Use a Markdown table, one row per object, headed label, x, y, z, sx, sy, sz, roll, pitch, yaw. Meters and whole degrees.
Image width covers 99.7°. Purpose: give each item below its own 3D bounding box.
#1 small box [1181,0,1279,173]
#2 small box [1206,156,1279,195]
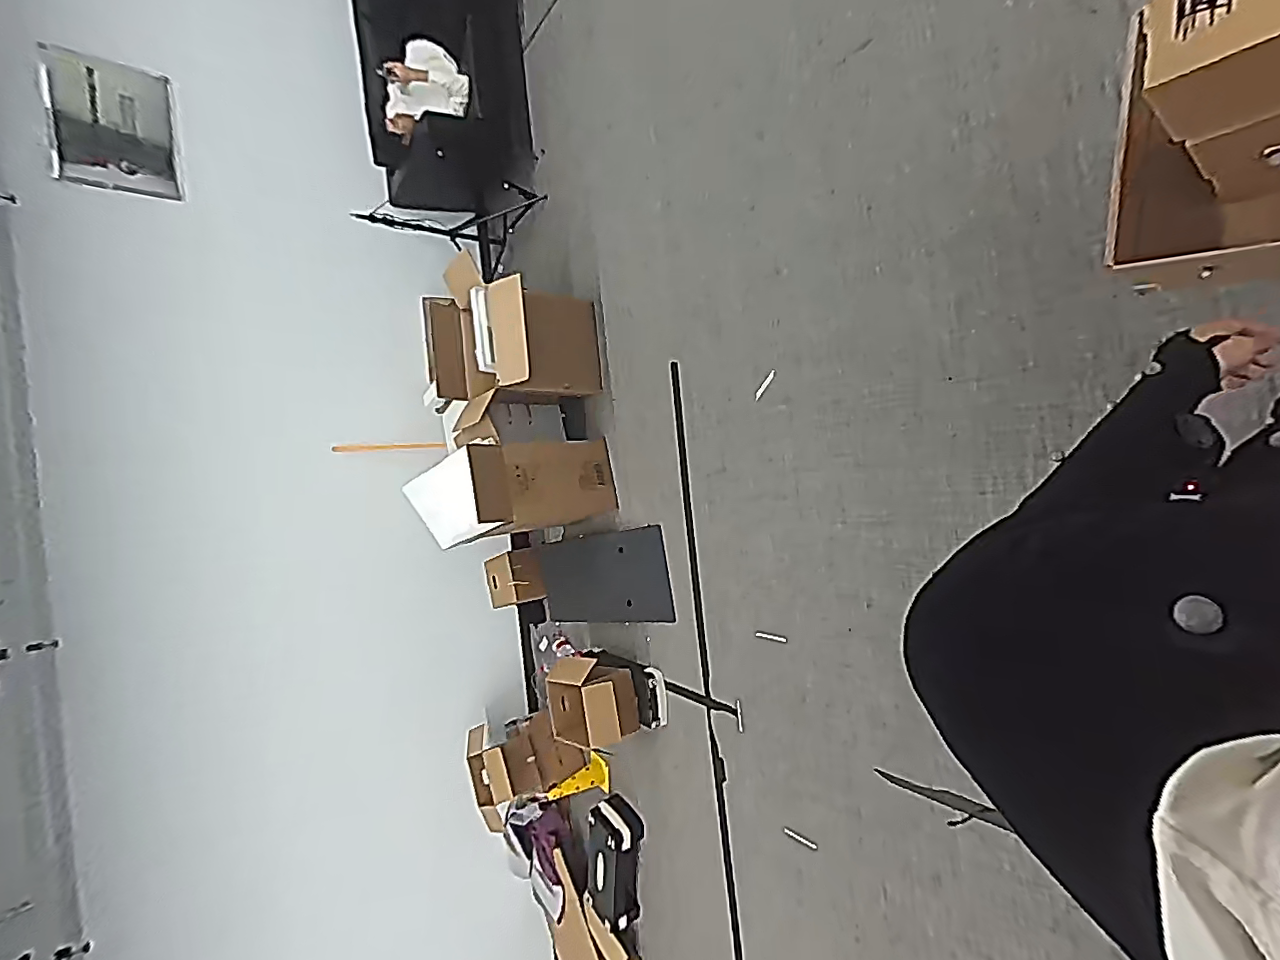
| label | x | y | z | sx | sy | sz | roll | pitch | yaw |
| --- | --- | --- | --- | --- | --- | --- | --- | --- | --- |
| small box | 0.761 | -0.497 | 0.628 | 0.168 | 0.176 | 0.179 | 1 | 95 | 54 |
| small box | 0.897 | -0.508 | 0.720 | 0.179 | 0.176 | 0.168 | 4 | 98 | 52 |
